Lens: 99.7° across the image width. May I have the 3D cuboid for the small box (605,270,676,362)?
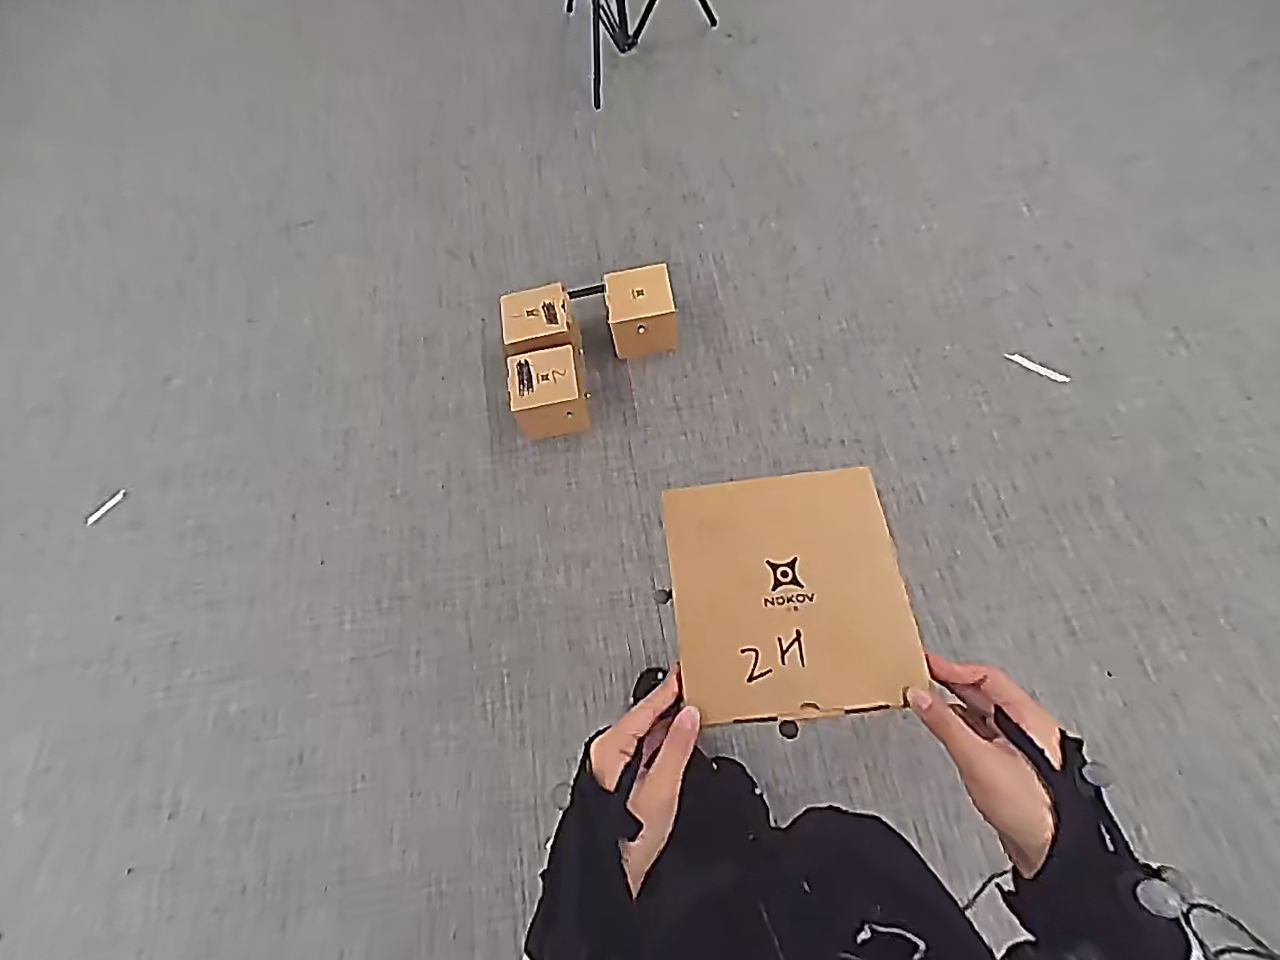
[{"bbox_3d":[0.006,-0.455,1.517,0.179,0.176,0.168,-10,68,4],"label":"small box"}]

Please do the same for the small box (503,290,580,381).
[{"bbox_3d":[-0.273,-0.404,1.530,0.179,0.176,0.168,-11,68,3],"label":"small box"}]

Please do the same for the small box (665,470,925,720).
[{"bbox_3d":[0.113,0.110,0.474,0.168,0.176,0.179,-7,67,4],"label":"small box"}]
